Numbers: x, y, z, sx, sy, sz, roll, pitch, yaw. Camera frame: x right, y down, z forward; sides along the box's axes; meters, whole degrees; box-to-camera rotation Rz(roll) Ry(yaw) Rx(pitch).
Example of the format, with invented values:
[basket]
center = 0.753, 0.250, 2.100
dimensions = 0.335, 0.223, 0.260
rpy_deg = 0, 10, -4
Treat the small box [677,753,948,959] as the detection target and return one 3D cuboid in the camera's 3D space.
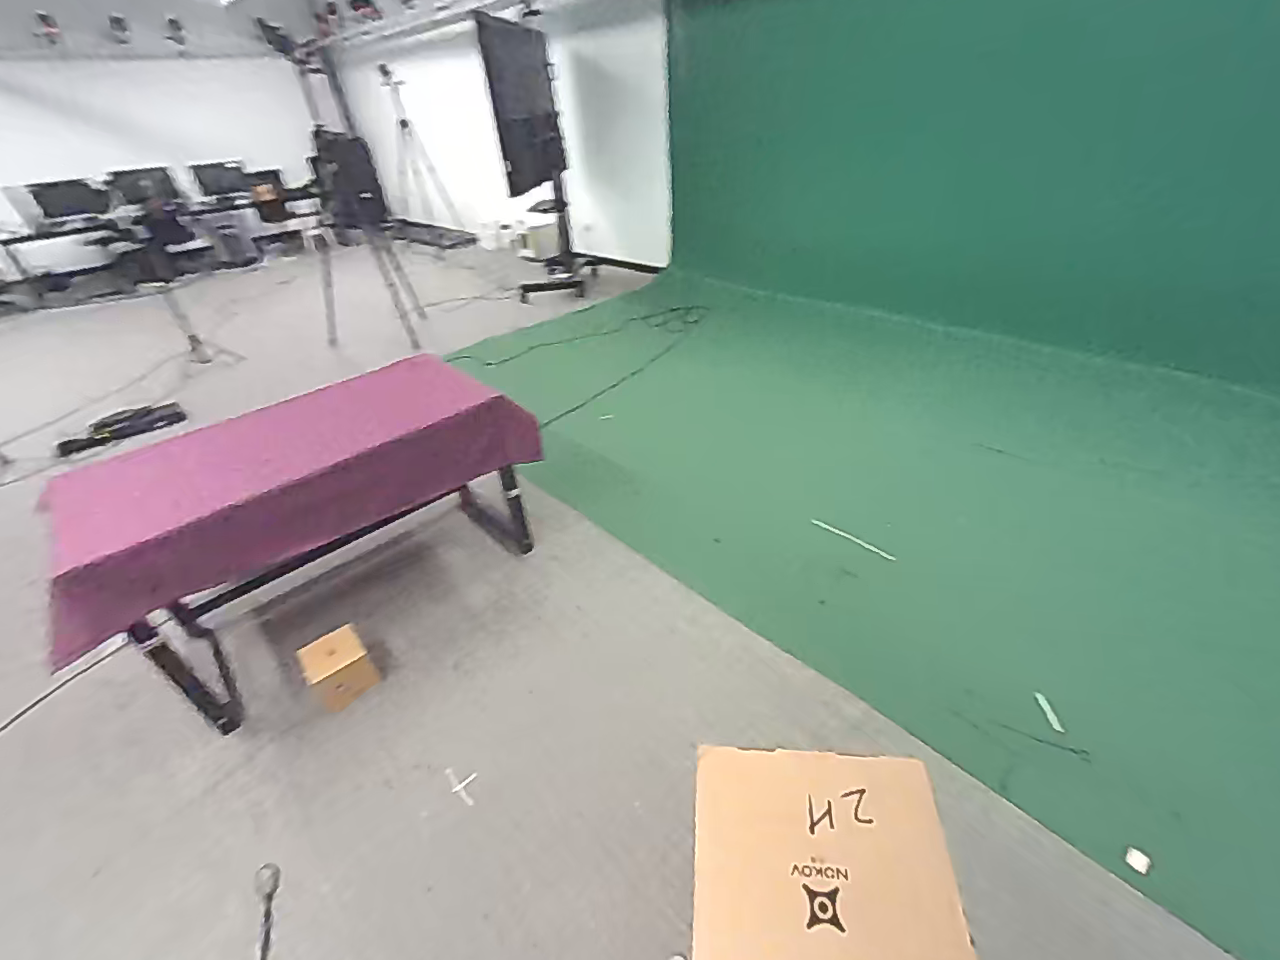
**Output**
[small box]
center = 0.117, 0.333, 0.408
dimensions = 0.168, 0.176, 0.179
rpy_deg = 0, 44, 8
